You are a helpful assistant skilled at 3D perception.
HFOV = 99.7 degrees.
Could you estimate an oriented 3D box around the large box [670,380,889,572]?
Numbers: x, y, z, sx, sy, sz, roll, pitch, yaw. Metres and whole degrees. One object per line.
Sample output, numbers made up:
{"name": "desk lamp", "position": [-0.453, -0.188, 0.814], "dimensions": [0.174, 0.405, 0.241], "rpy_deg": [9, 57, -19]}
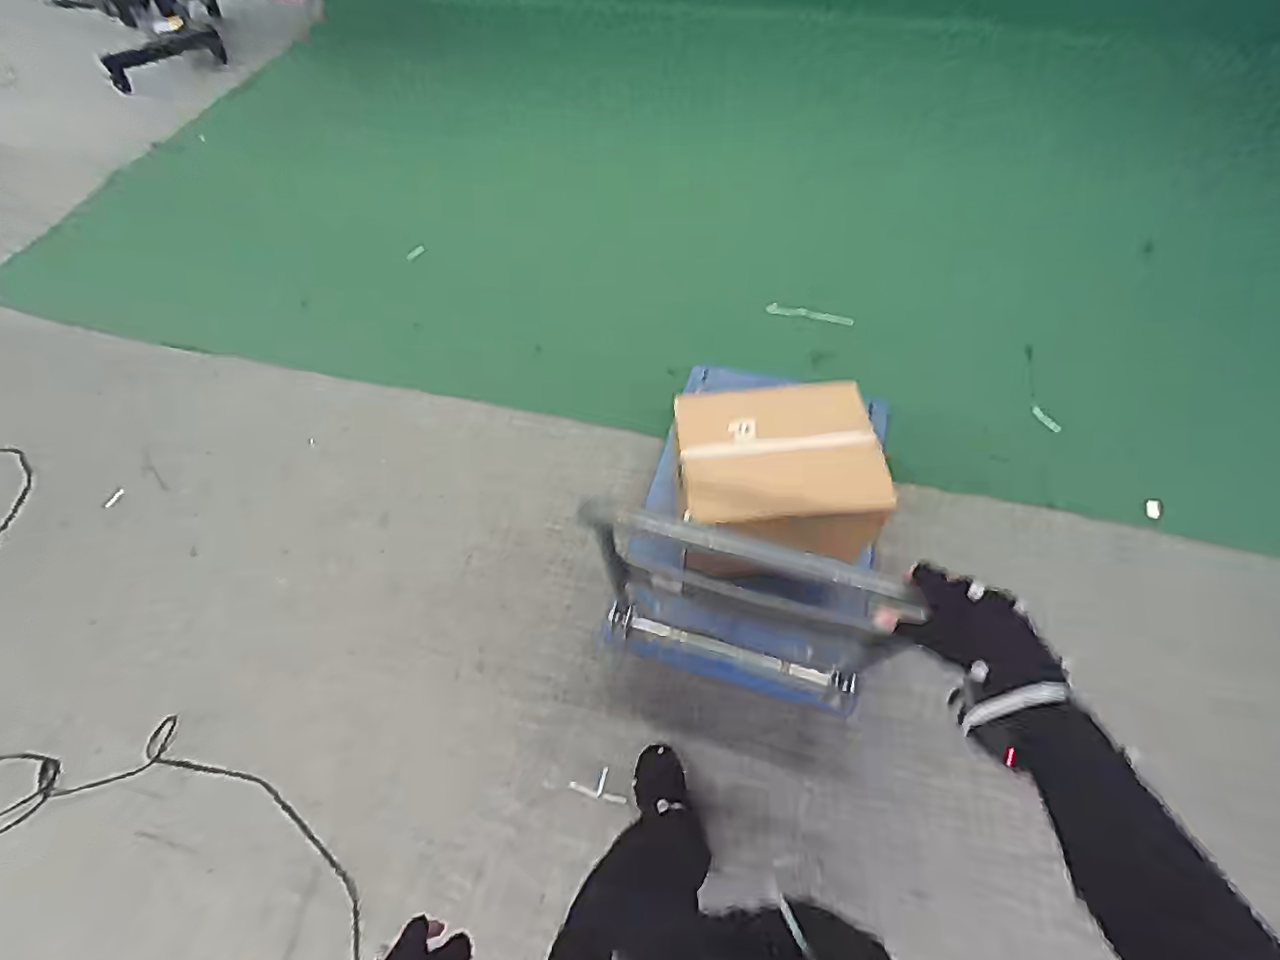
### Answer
{"name": "large box", "position": [0.290, 0.004, 1.260], "dimensions": [0.408, 0.320, 0.320], "rpy_deg": [-6, 59, 1]}
